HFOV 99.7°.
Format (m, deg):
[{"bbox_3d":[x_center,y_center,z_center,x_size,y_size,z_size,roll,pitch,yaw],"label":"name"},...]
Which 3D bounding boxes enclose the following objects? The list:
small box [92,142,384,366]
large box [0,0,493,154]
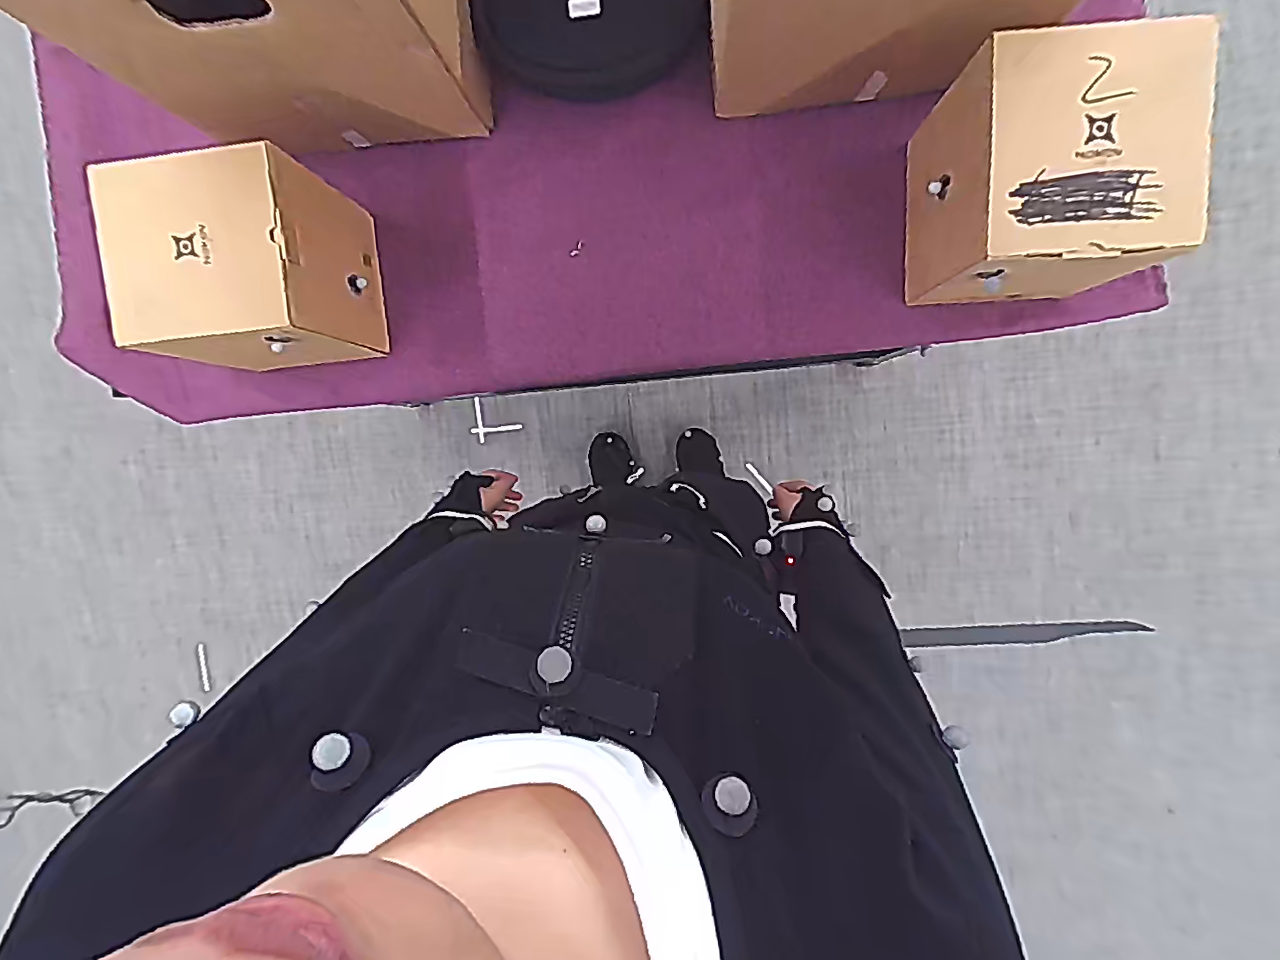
[{"bbox_3d":[-0.408,-0.221,0.577,0.179,0.176,0.168,-6,94,4],"label":"small box"},{"bbox_3d":[-0.340,-0.572,0.469,0.320,0.320,0.408,-3,98,5],"label":"large box"}]
